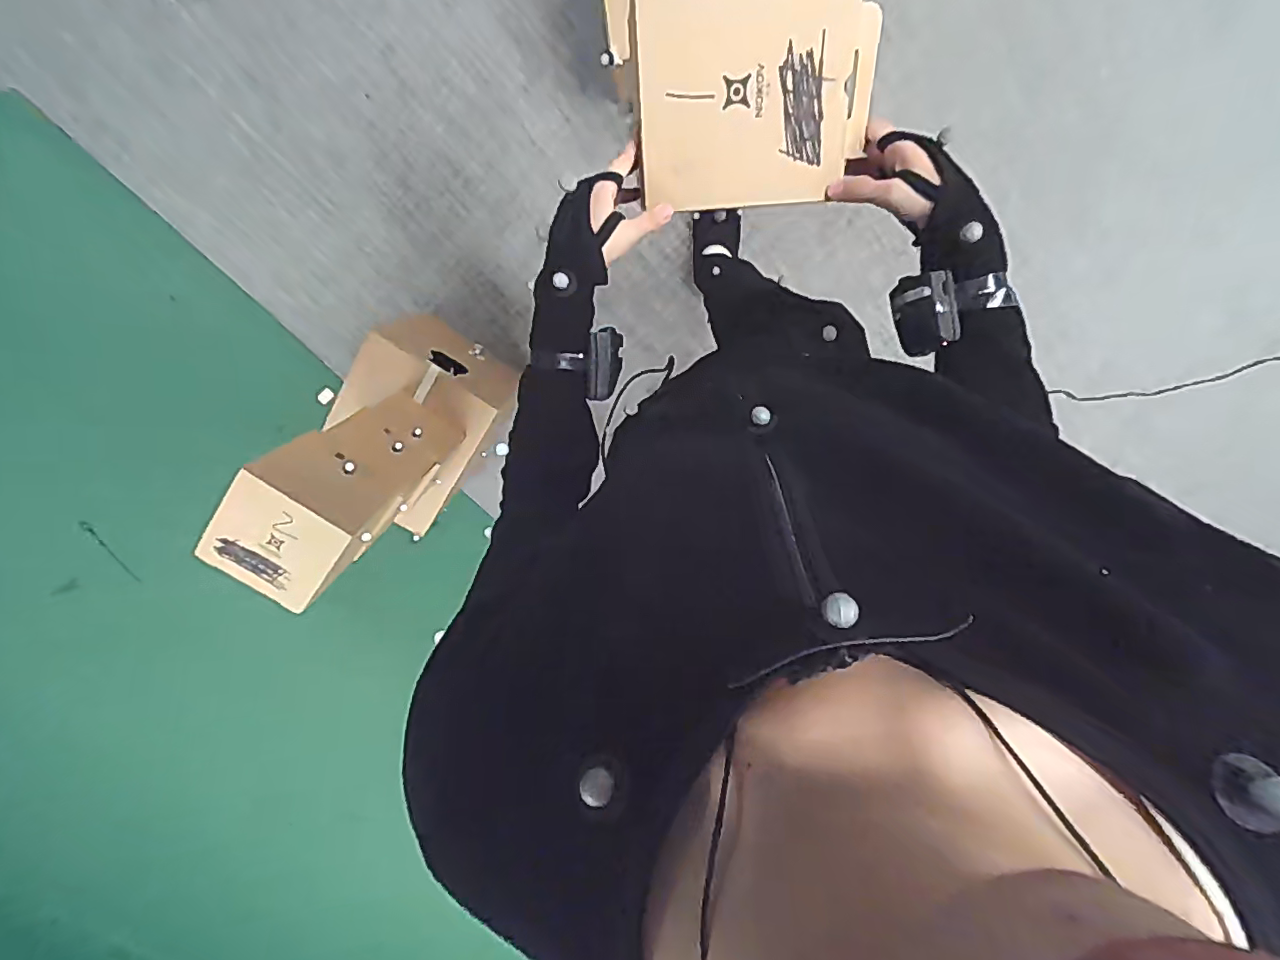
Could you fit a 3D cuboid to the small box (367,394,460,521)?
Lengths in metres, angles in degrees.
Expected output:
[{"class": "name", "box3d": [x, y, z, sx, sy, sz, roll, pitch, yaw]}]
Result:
[{"class": "small box", "box3d": [-0.506, -0.054, 1.125, 0.179, 0.176, 0.168, 37, 109, -14]}]

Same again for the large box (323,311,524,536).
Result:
[{"class": "large box", "box3d": [-0.541, -0.151, 1.351, 0.320, 0.320, 0.408, 33, 112, -11]}]

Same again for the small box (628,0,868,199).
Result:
[{"class": "small box", "box3d": [0.083, -0.357, 0.493, 0.179, 0.176, 0.168, -4, 119, 0]}]

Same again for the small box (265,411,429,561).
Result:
[{"class": "small box", "box3d": [-0.513, 0.005, 0.974, 0.168, 0.176, 0.179, 39, 109, -15]}]
